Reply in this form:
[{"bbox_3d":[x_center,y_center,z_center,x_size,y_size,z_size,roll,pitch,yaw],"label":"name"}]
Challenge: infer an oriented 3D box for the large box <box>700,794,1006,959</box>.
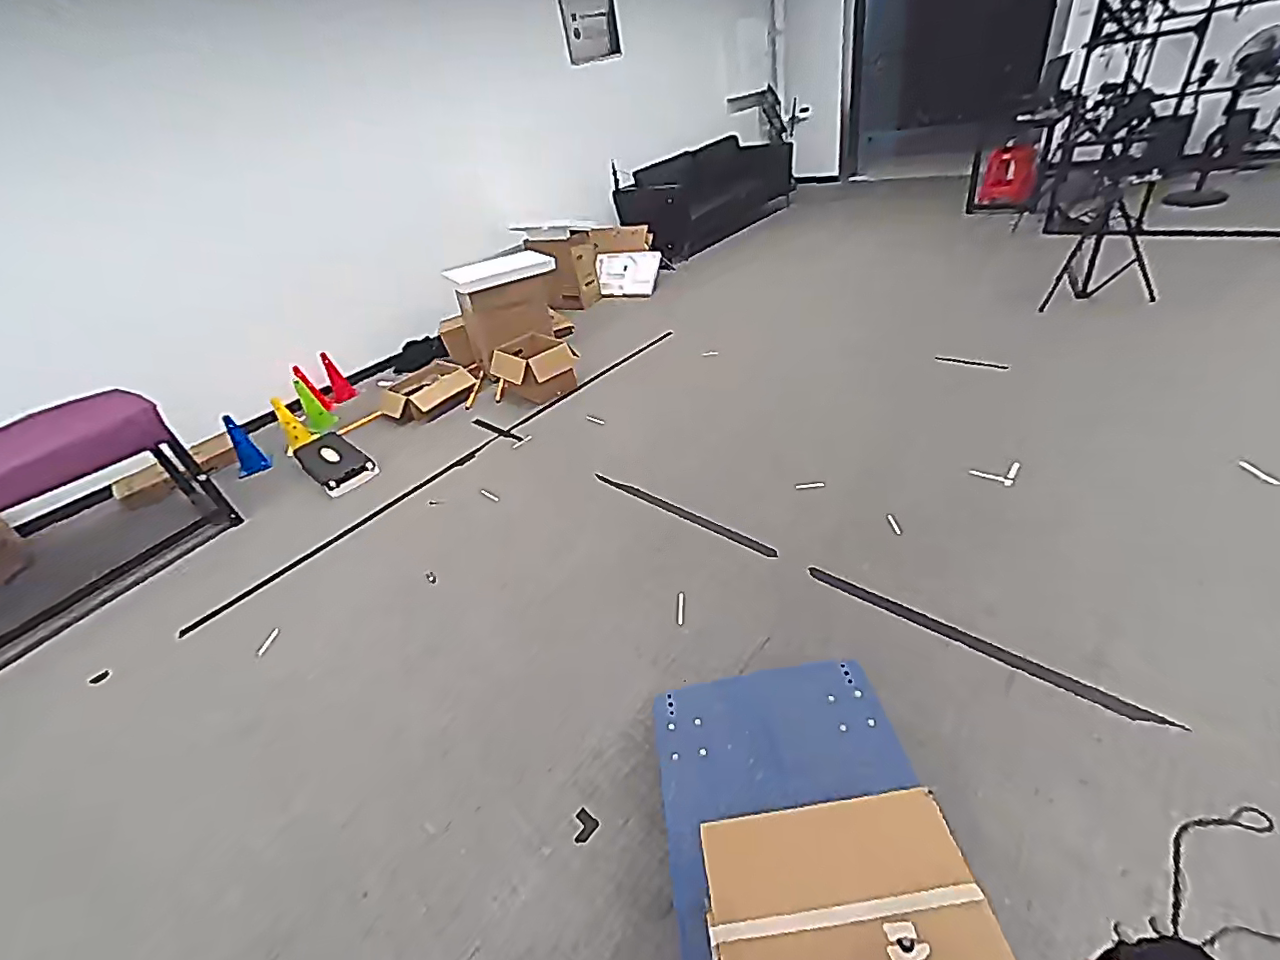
[{"bbox_3d":[0.333,0.787,0.900,0.408,0.320,0.320,-10,36,1],"label":"large box"}]
